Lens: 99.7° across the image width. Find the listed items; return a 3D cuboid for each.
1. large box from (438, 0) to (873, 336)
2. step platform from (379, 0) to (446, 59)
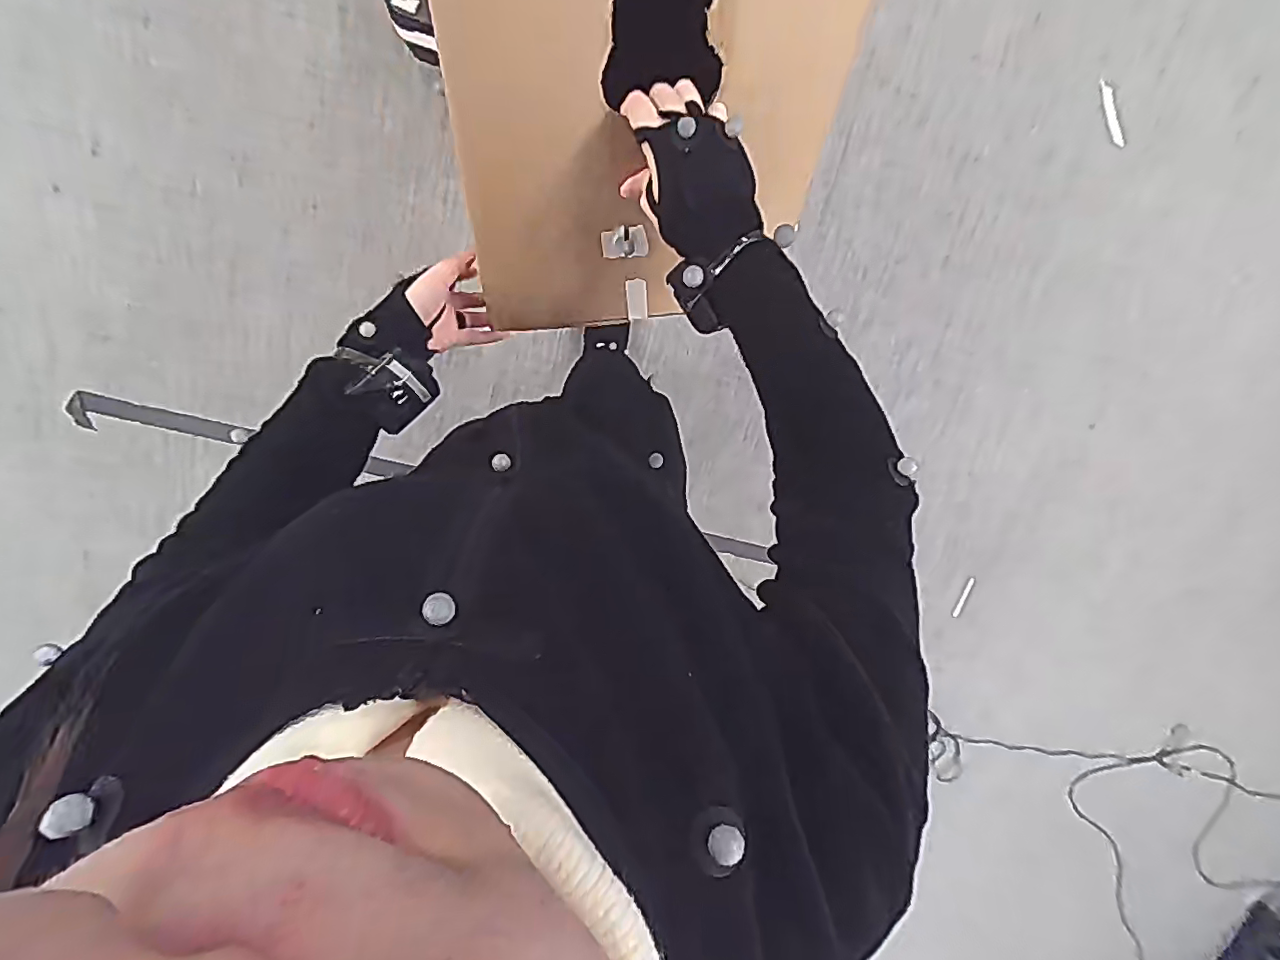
[{"bbox_3d":[-0.030,-0.409,0.556,0.320,0.408,0.320,-9,146,-11],"label":"large box"},{"bbox_3d":[-0.161,-0.939,1.096,0.684,0.204,0.286,19,105,-9],"label":"step platform"}]
